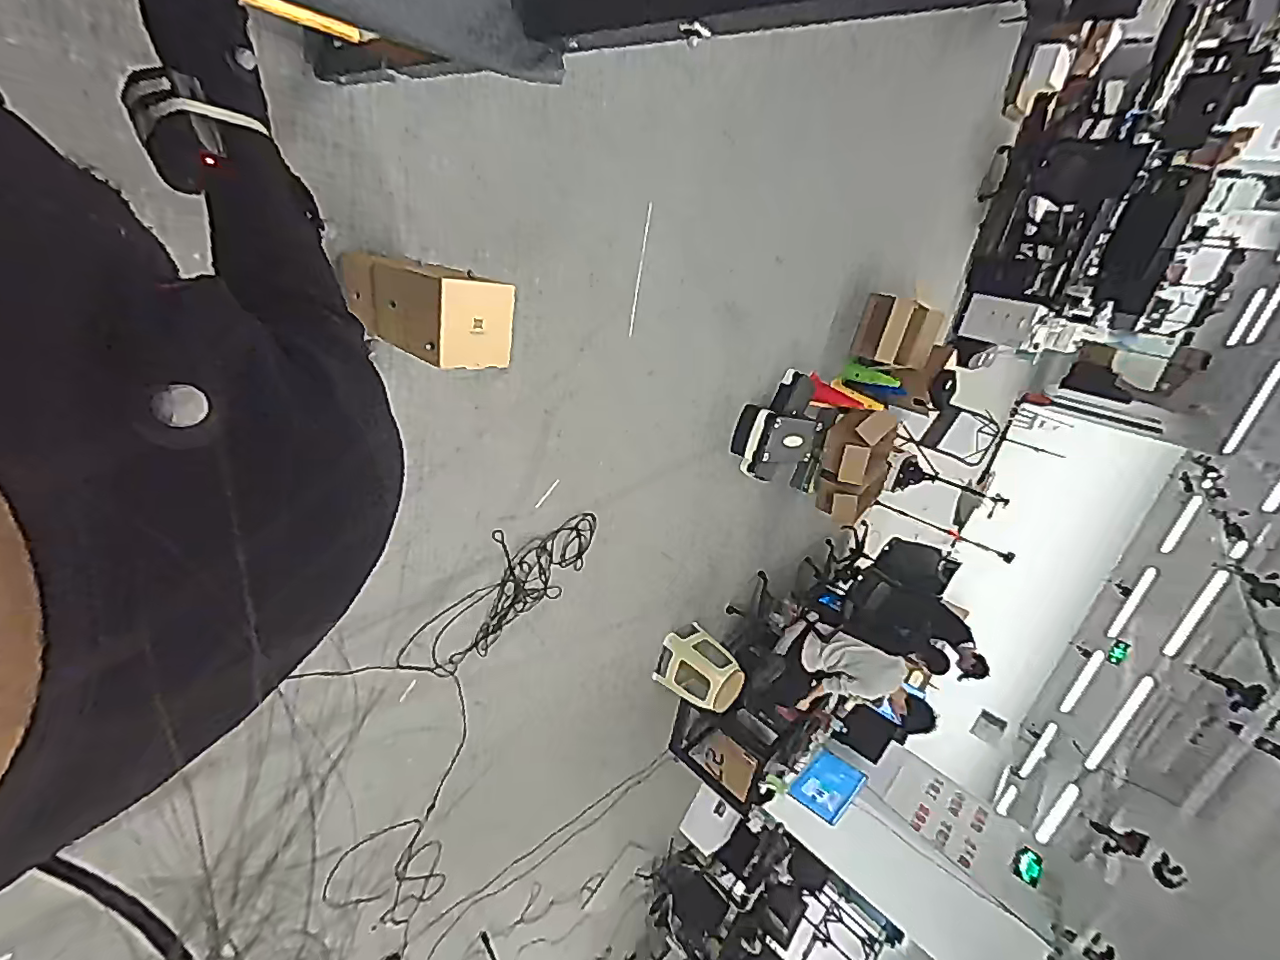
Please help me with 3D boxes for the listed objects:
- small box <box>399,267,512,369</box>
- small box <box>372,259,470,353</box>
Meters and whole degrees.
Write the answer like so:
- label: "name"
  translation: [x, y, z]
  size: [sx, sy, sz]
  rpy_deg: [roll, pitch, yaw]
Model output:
- label: "small box"
  translation: [-0.392, -0.342, 1.141]
  size: [0.168, 0.176, 0.179]
  rpy_deg: [-14, 123, -45]
- label: "small box"
  translation: [-0.501, -0.401, 1.249]
  size: [0.168, 0.176, 0.179]
  rpy_deg: [-17, 124, -44]
